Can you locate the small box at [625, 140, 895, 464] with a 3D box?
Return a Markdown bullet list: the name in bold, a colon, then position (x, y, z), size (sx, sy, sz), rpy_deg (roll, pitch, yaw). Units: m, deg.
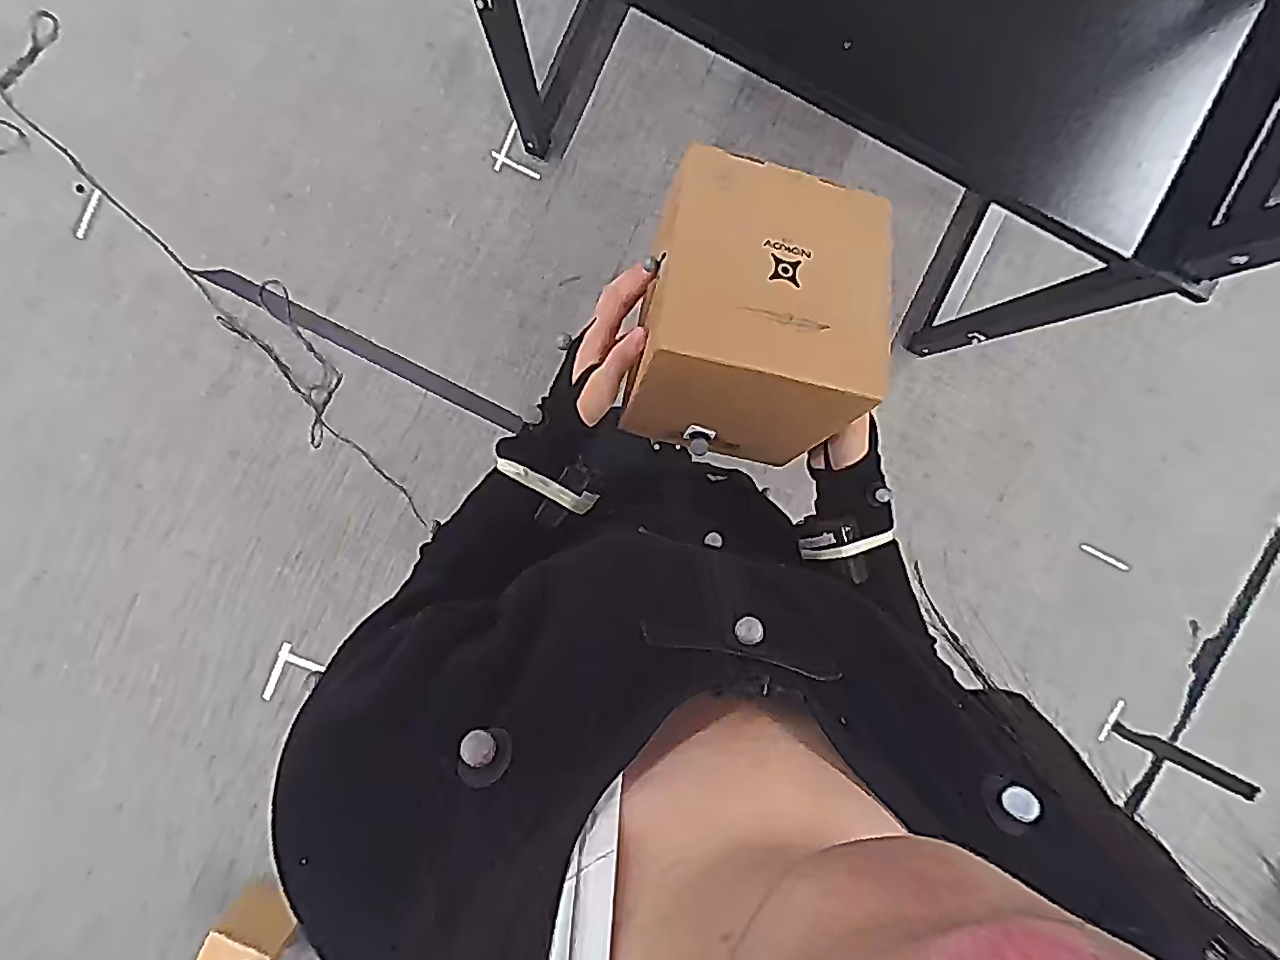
- **small box**: position (0.088, -0.130, 0.457), size (0.168, 0.176, 0.179), rpy_deg (11, 74, -8)
